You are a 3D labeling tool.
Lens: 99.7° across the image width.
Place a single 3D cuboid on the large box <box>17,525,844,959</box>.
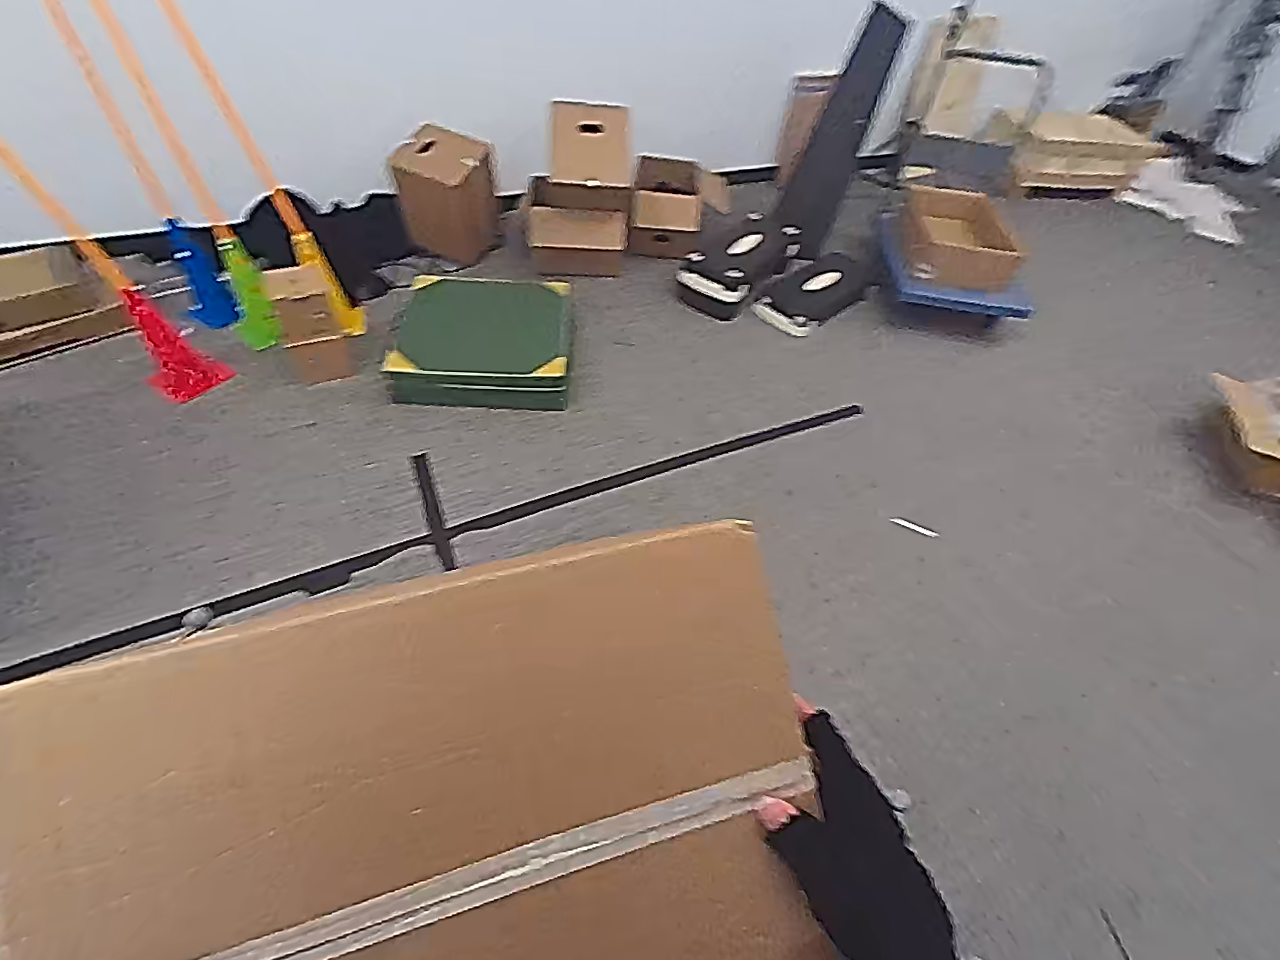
[{"bbox_3d":[-0.120,0.236,0.445,0.408,0.320,0.320,-12,87,-11],"label":"large box"}]
